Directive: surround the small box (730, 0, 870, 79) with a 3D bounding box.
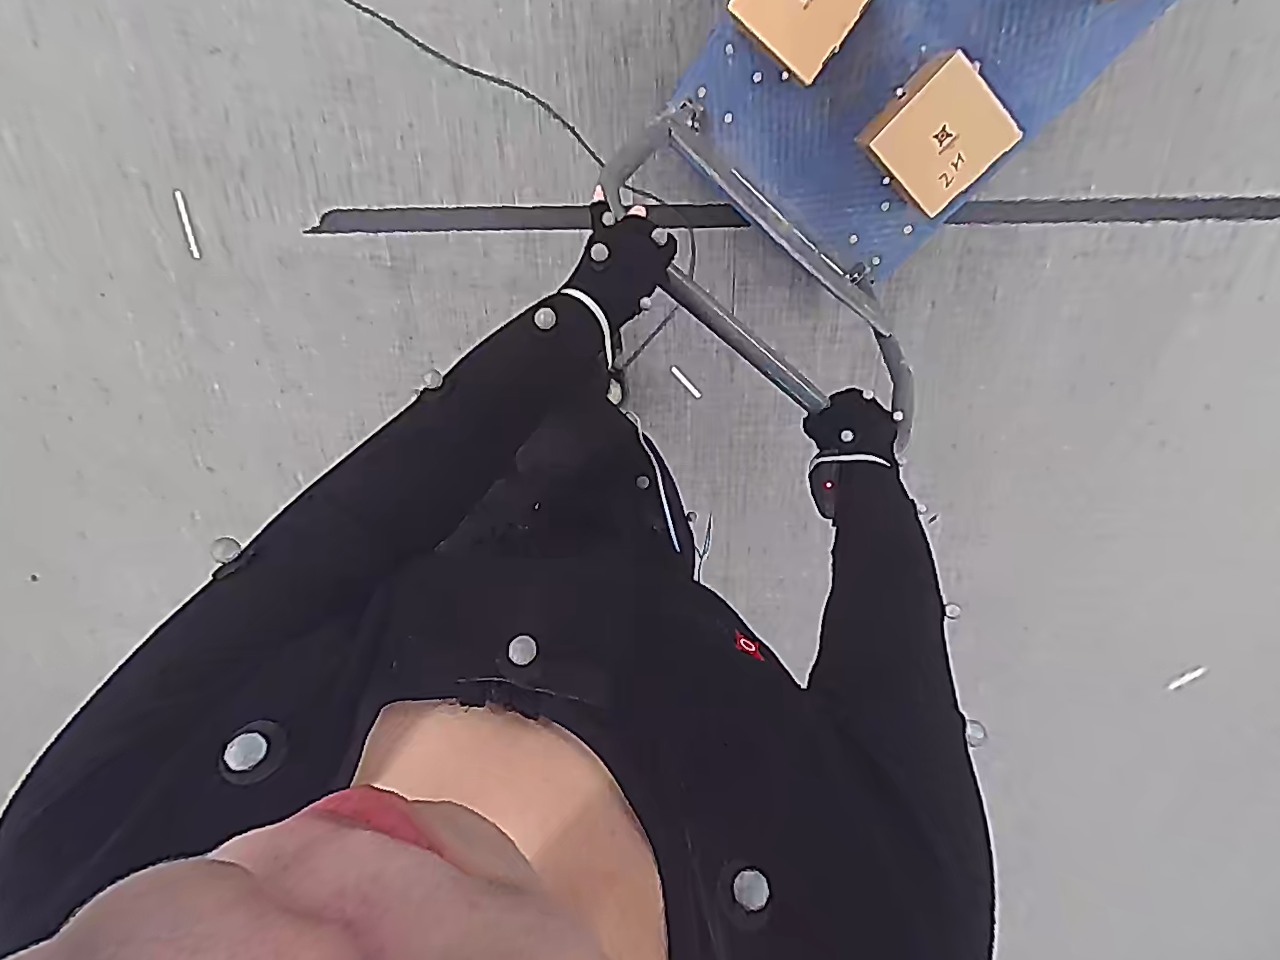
[{"bbox_3d":[0.263,-0.784,0.873,0.179,0.176,0.168,33,124,-14],"label":"small box"}]

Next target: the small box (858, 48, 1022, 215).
[{"bbox_3d":[0.511,-0.603,0.949,0.179,0.176,0.168,39,123,-16],"label":"small box"}]
